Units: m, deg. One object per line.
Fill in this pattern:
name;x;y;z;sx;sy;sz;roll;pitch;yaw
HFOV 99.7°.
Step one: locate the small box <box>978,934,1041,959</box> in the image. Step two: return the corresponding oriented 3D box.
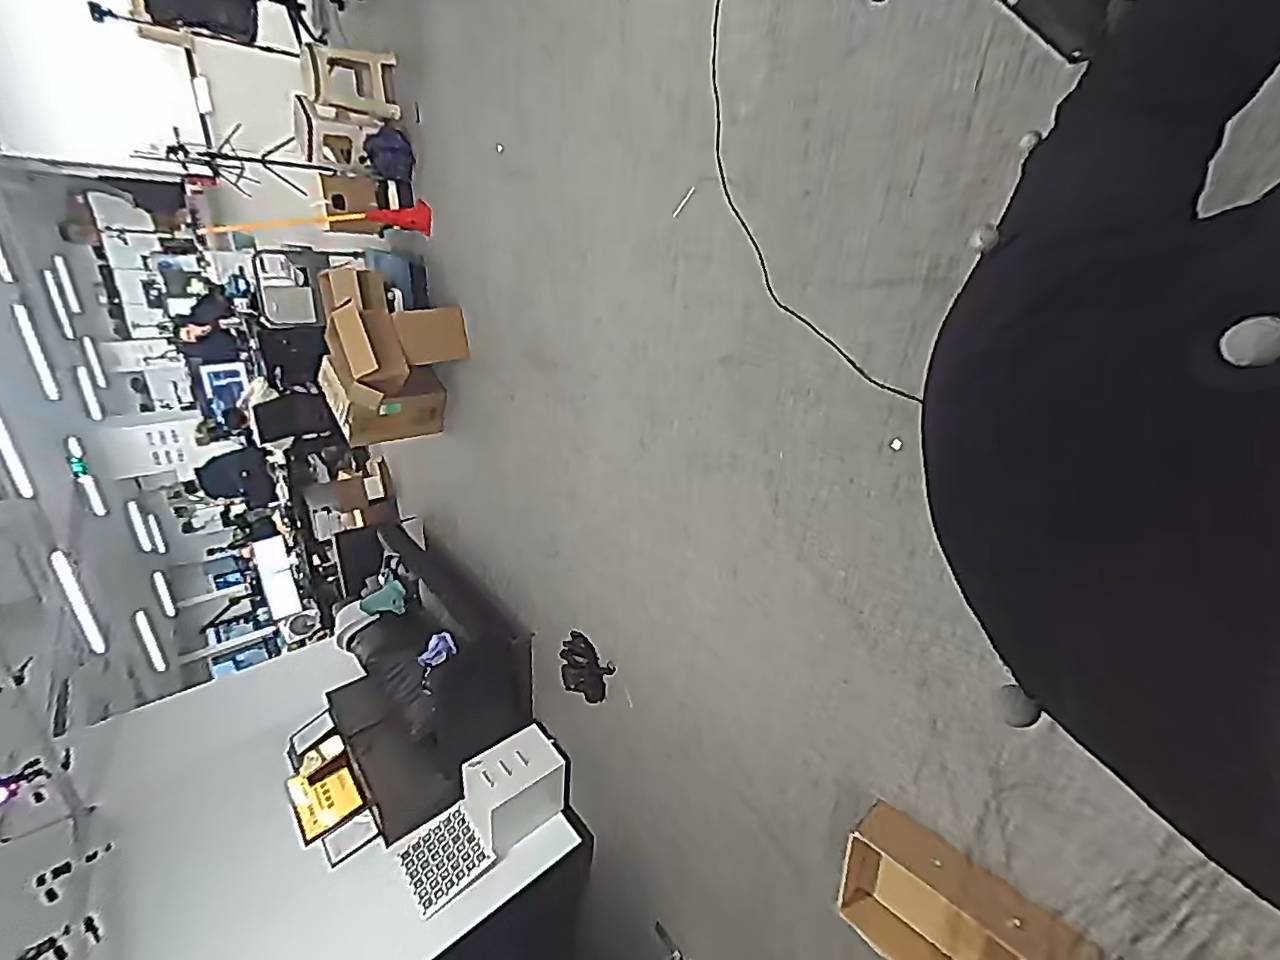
small box;1.031;1.407;1.483;0.179;0.176;0.168;18;118;47
